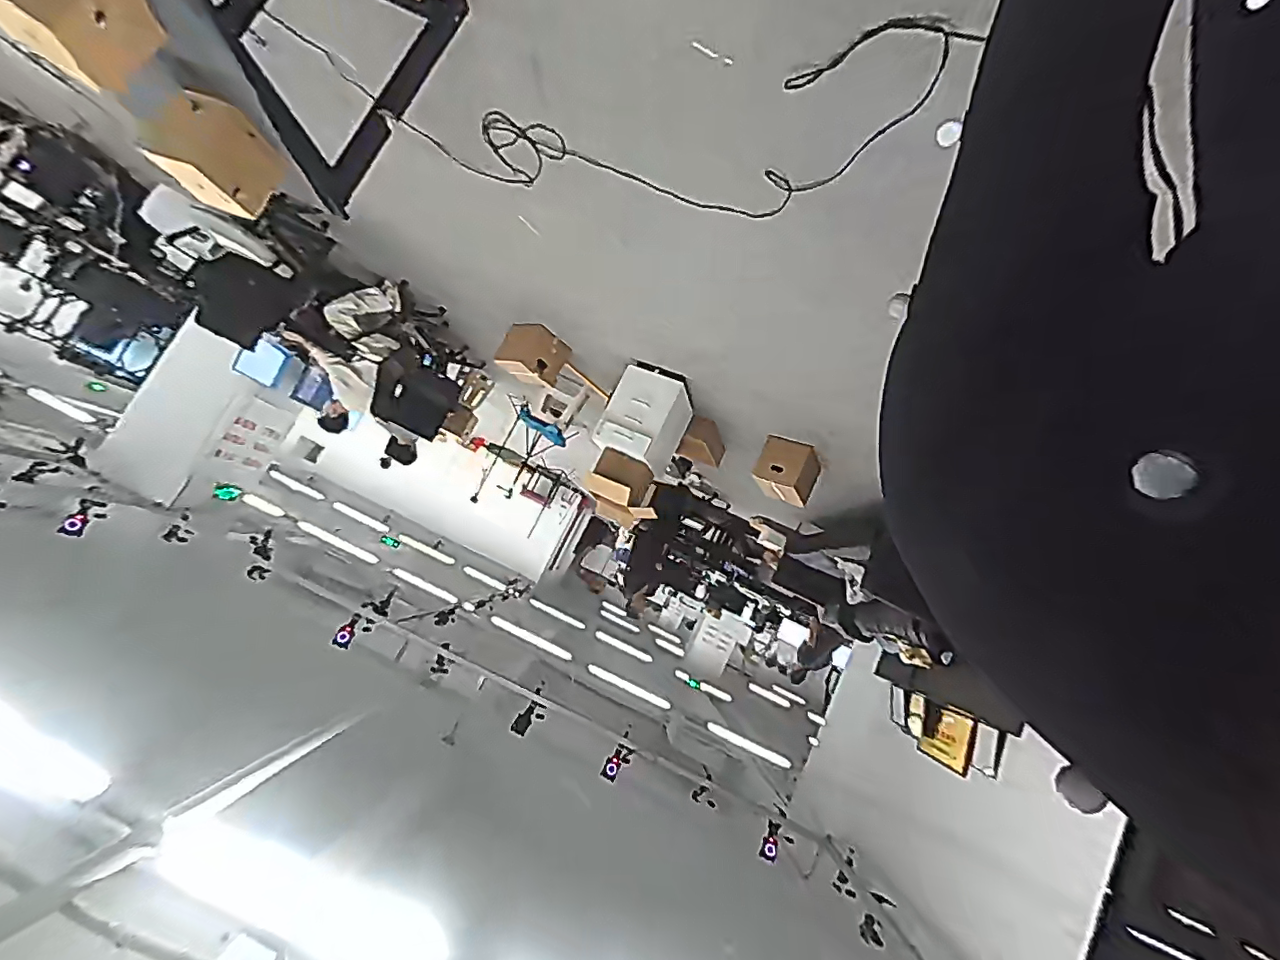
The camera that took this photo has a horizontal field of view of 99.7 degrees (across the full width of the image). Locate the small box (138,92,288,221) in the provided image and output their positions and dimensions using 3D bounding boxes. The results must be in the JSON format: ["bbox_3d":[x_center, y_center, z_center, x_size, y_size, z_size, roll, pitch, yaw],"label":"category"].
[{"bbox_3d":[-0.958,-0.736,1.229,0.179,0.176,0.168,23,171,13],"label":"small box"}]

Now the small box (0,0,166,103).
[{"bbox_3d":[-0.945,-0.789,0.886,0.168,0.176,0.179,32,171,-18],"label":"small box"}]
